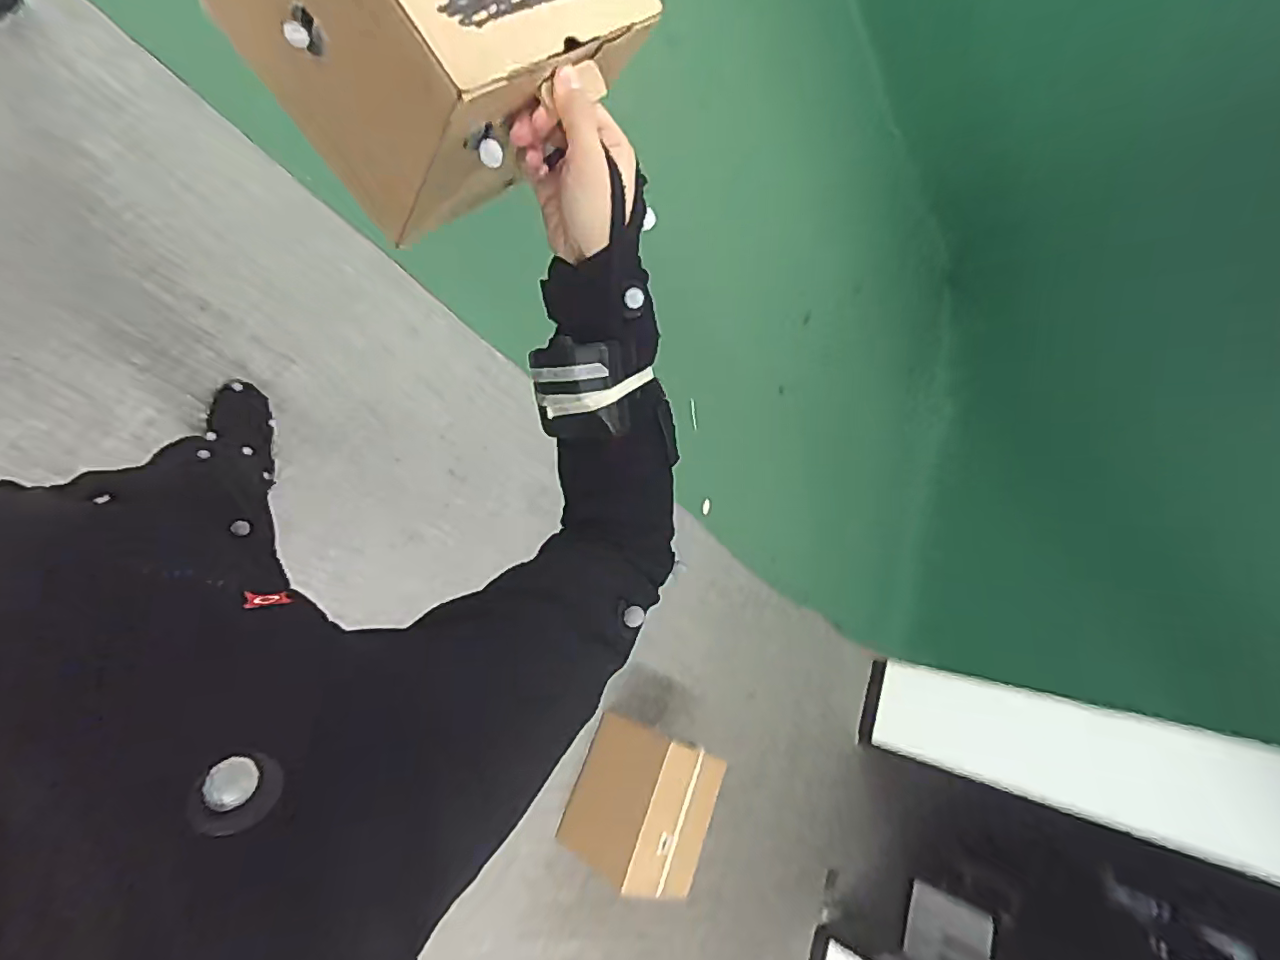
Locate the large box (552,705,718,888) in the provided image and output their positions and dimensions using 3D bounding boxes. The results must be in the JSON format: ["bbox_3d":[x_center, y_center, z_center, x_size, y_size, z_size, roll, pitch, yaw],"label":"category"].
[{"bbox_3d":[-0.011,0.995,1.728,0.320,0.320,0.408,39,66,-37],"label":"large box"}]
